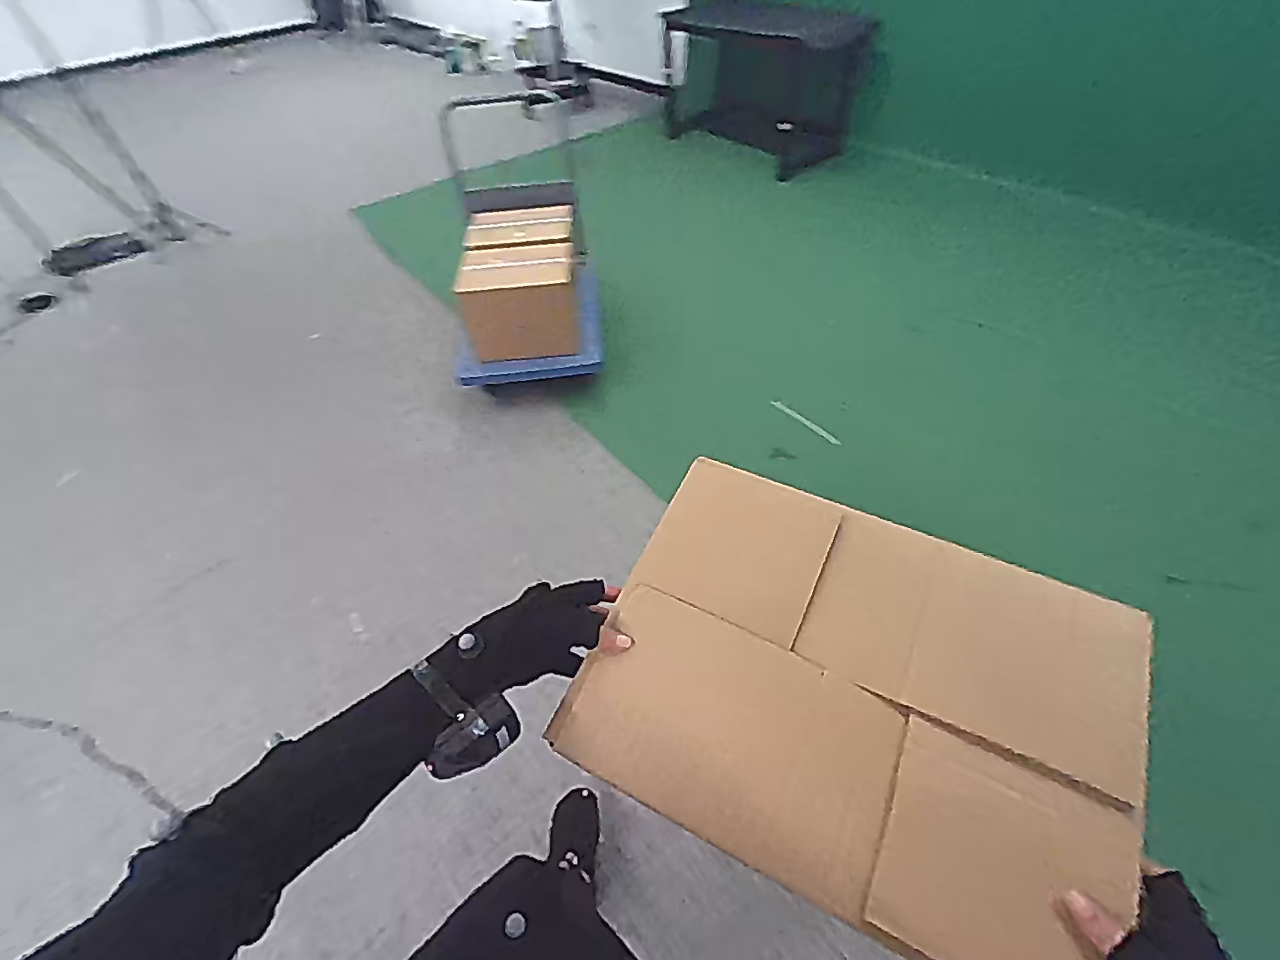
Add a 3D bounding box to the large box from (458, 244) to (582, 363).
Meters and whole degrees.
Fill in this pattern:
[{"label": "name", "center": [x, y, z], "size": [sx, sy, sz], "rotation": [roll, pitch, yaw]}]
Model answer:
[{"label": "large box", "center": [-0.446, -0.688, 2.120], "size": [0.408, 0.320, 0.320], "rotation": [-5, 49, 1]}]
